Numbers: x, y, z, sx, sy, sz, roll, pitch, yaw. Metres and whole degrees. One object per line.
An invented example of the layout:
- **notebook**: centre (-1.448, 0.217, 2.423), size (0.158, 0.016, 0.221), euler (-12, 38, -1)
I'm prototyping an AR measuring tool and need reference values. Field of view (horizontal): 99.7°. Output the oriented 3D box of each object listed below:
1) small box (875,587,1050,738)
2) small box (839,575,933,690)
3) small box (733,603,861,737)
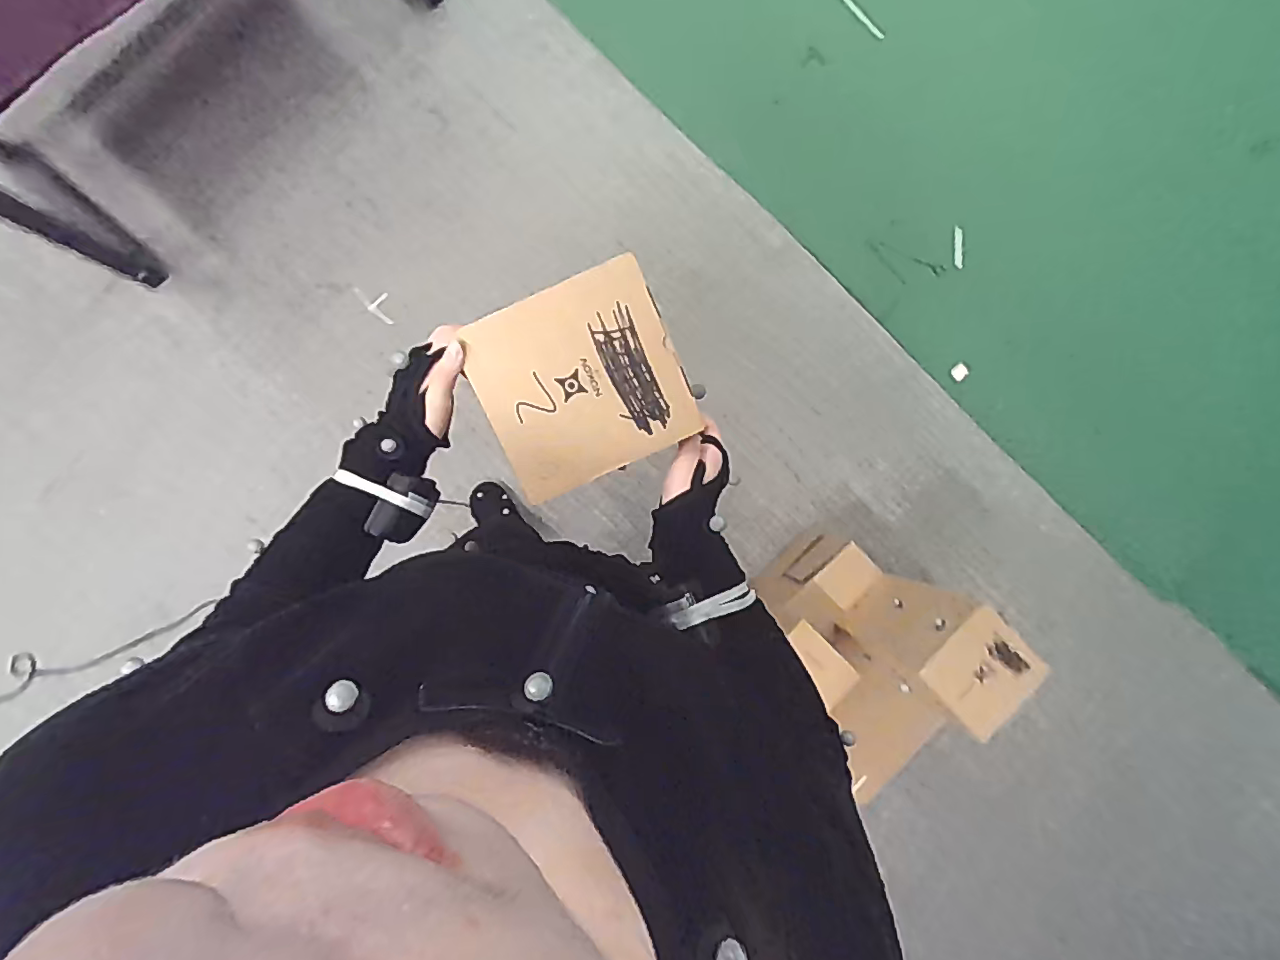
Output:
- **small box**: centre (0.574, 0.317, 0.986), size (0.179, 0.176, 0.168), euler (-43, 92, -4)
- **small box**: centre (0.566, 0.323, 1.151), size (0.168, 0.176, 0.179), euler (-43, 93, -5)
- **small box**: centre (0.315, 0.386, 1.131), size (0.179, 0.176, 0.168), euler (-45, 92, -4)
